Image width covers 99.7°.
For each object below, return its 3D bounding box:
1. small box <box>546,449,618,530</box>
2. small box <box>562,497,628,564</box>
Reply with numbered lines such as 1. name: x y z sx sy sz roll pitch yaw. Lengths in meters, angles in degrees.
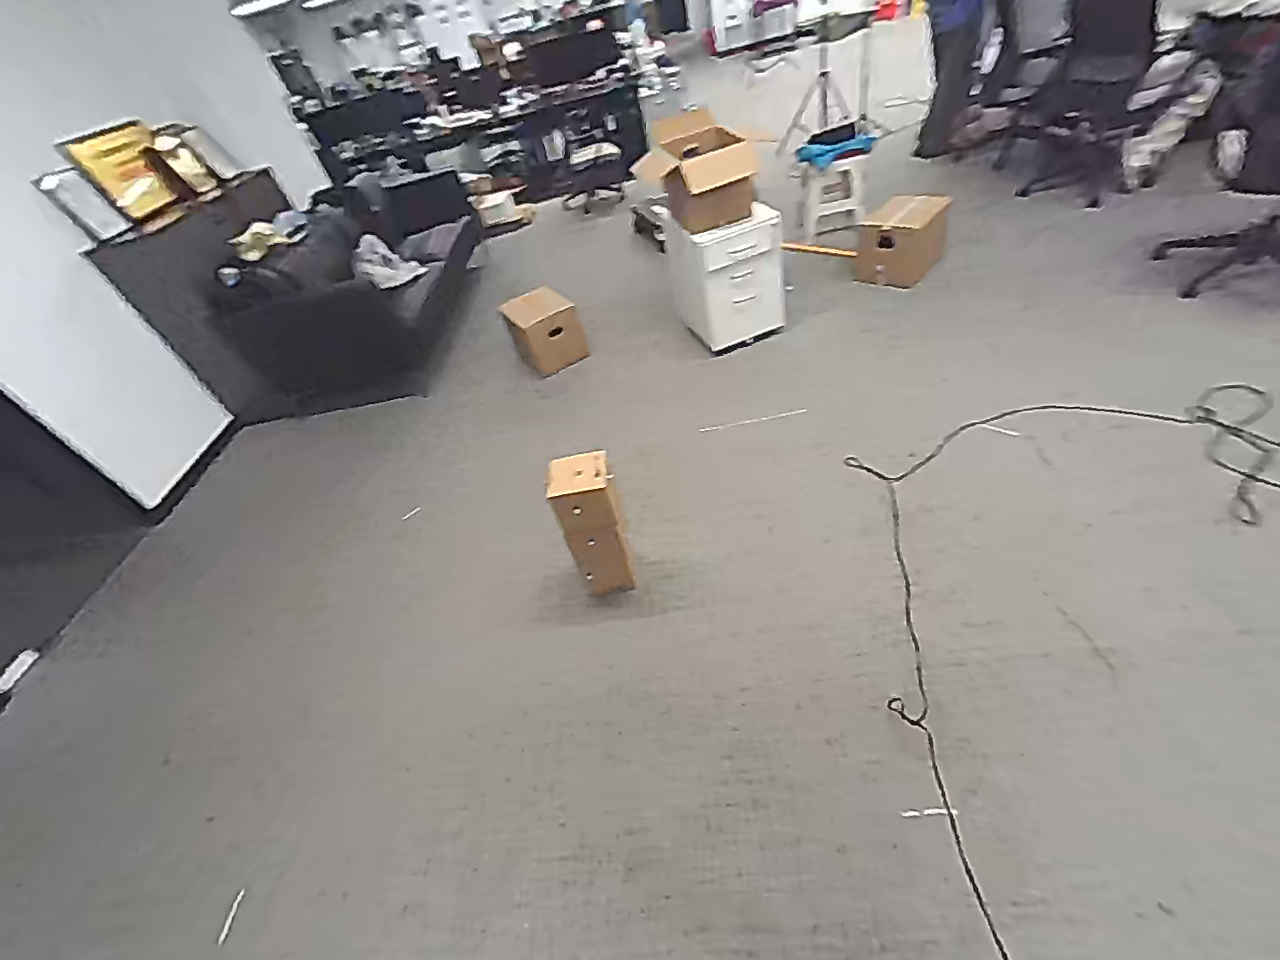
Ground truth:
1. small box: -0.172 0.035 1.655 0.179 0.176 0.168 -11 43 7
2. small box: -0.143 0.157 1.760 0.179 0.176 0.168 -10 43 6
